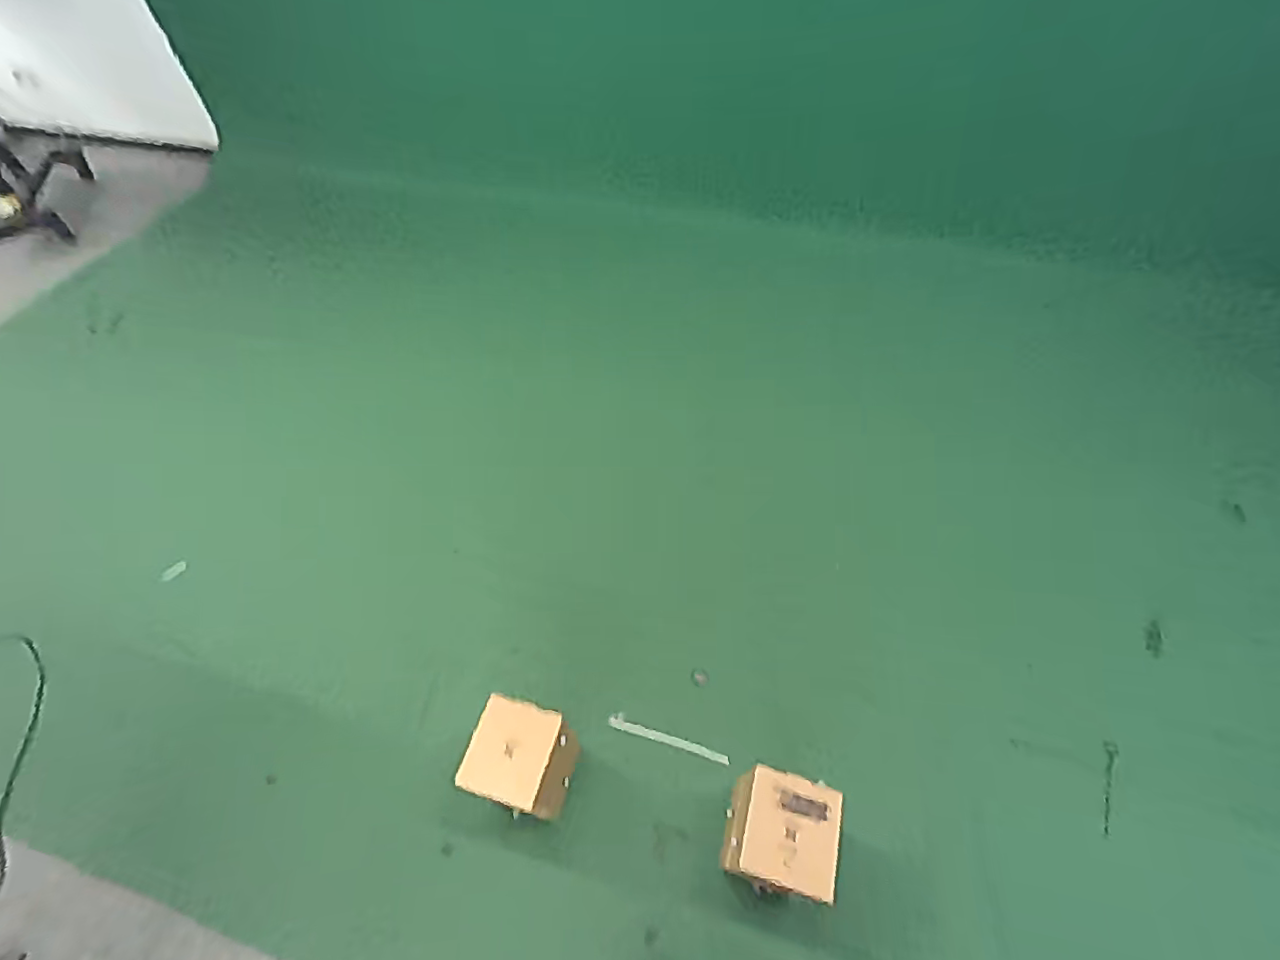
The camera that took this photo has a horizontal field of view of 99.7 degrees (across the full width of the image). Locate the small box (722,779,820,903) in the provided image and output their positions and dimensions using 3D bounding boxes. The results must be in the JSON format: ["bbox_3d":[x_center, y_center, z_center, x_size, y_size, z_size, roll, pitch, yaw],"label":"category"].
[{"bbox_3d":[0.281,0.785,1.182,0.168,0.176,0.179,14,56,12],"label":"small box"}]

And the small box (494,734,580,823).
[{"bbox_3d":[-0.250,0.685,1.277,0.168,0.176,0.179,12,56,12],"label":"small box"}]

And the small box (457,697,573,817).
[{"bbox_3d":[-0.253,0.591,1.145,0.168,0.176,0.179,12,55,12],"label":"small box"}]
